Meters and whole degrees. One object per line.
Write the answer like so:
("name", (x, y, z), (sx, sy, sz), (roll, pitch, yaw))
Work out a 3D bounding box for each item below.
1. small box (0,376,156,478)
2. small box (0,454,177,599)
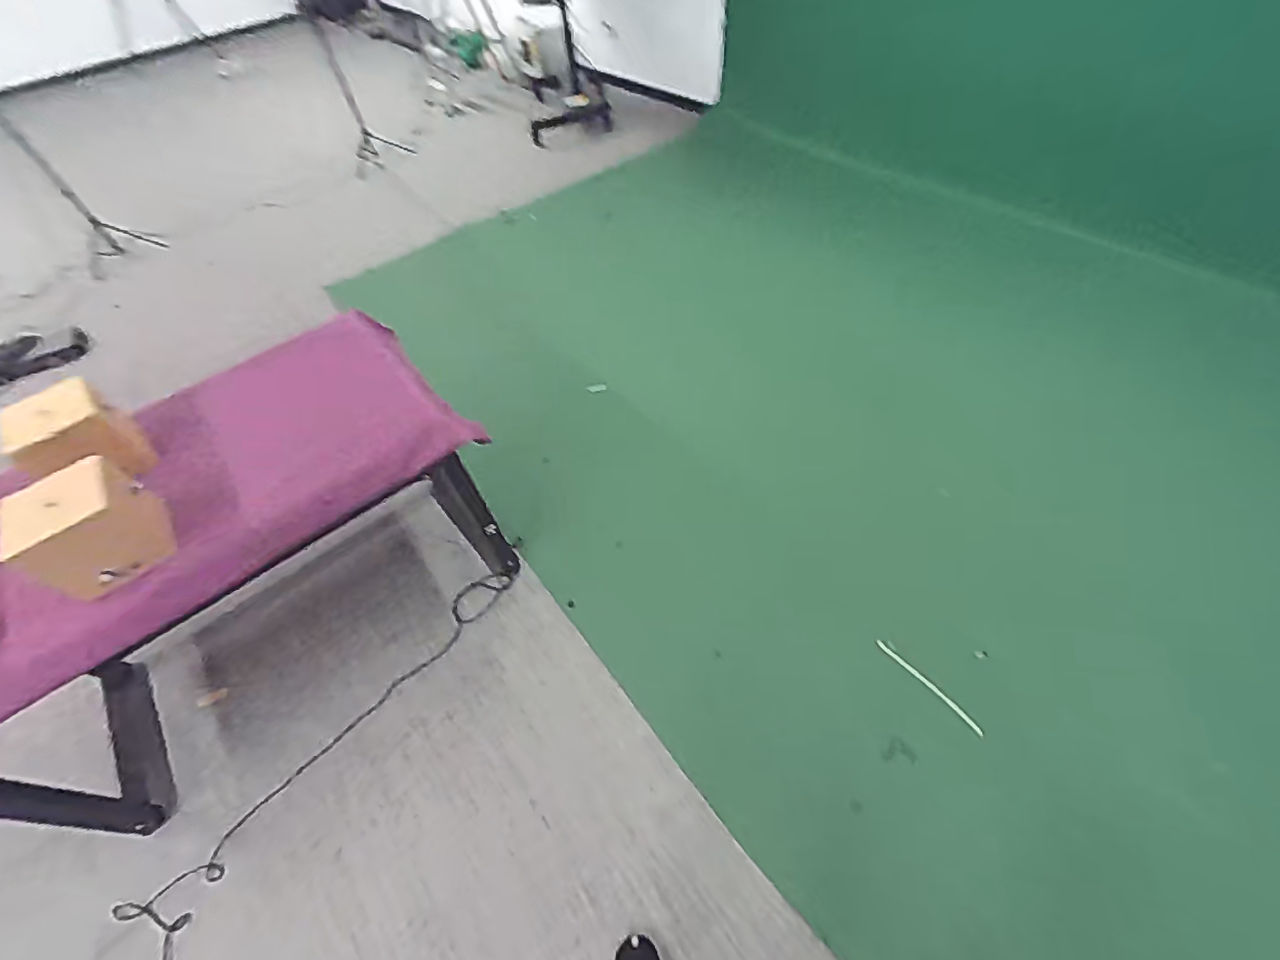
("small box", (-1.228, -0.091, 1.187), (0.168, 0.176, 0.179), (-39, 59, -22))
("small box", (-1.033, 0.091, 1.023), (0.168, 0.176, 0.179), (-35, 56, -19))
